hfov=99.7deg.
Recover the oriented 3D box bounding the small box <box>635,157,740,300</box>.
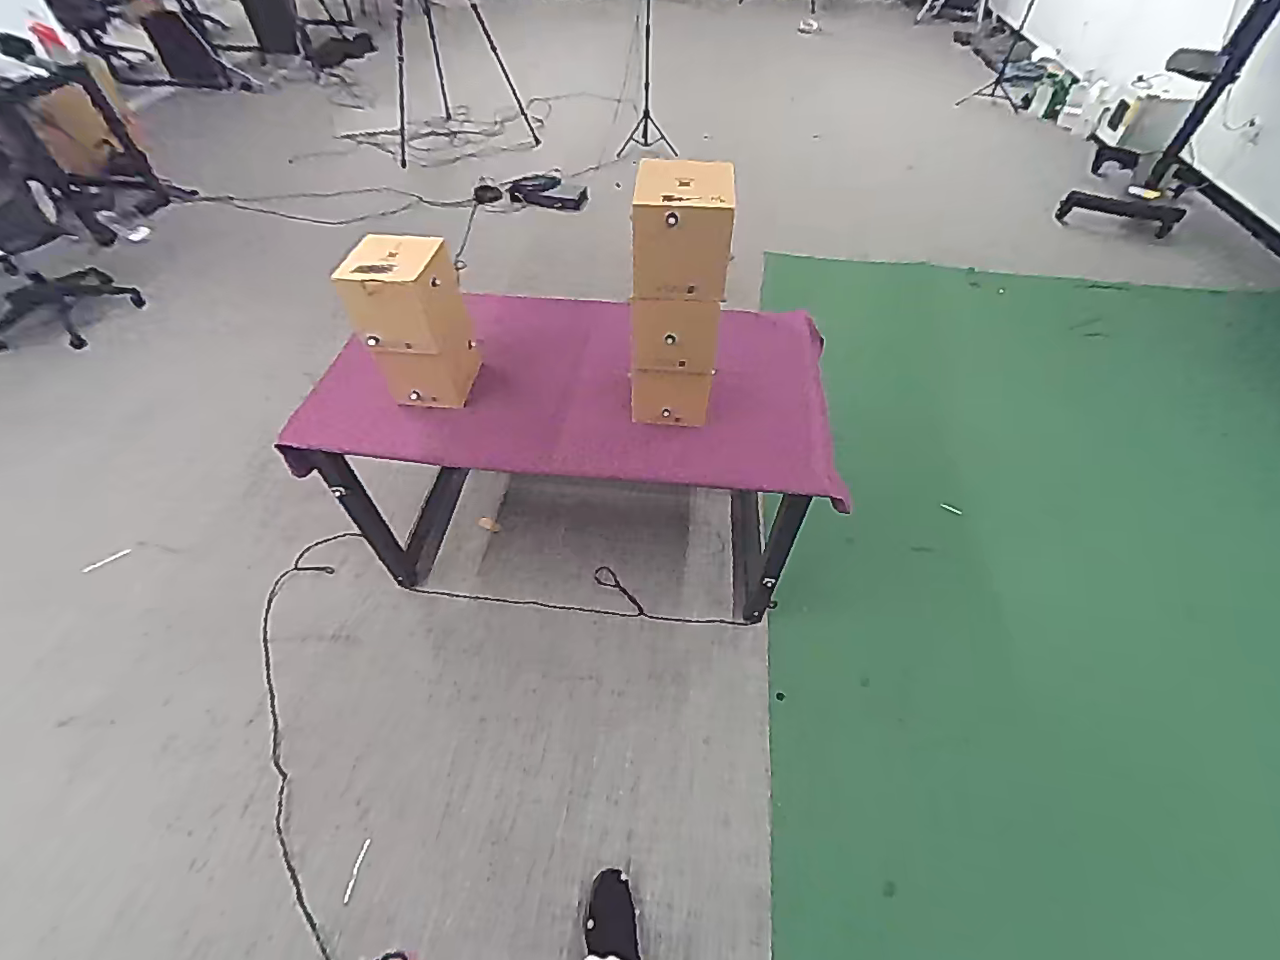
[{"bbox_3d":[0.080,-0.442,0.951,0.168,0.176,0.179,4,51,3],"label":"small box"}]

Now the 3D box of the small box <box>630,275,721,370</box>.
[{"bbox_3d":[0.074,-0.339,1.078,0.168,0.176,0.179,6,51,3],"label":"small box"}]

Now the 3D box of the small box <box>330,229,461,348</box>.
[{"bbox_3d":[-0.486,-0.391,1.109,0.168,0.176,0.179,5,50,3],"label":"small box"}]

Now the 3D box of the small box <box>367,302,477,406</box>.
[{"bbox_3d":[-0.486,-0.295,1.242,0.168,0.176,0.179,5,51,3],"label":"small box"}]
